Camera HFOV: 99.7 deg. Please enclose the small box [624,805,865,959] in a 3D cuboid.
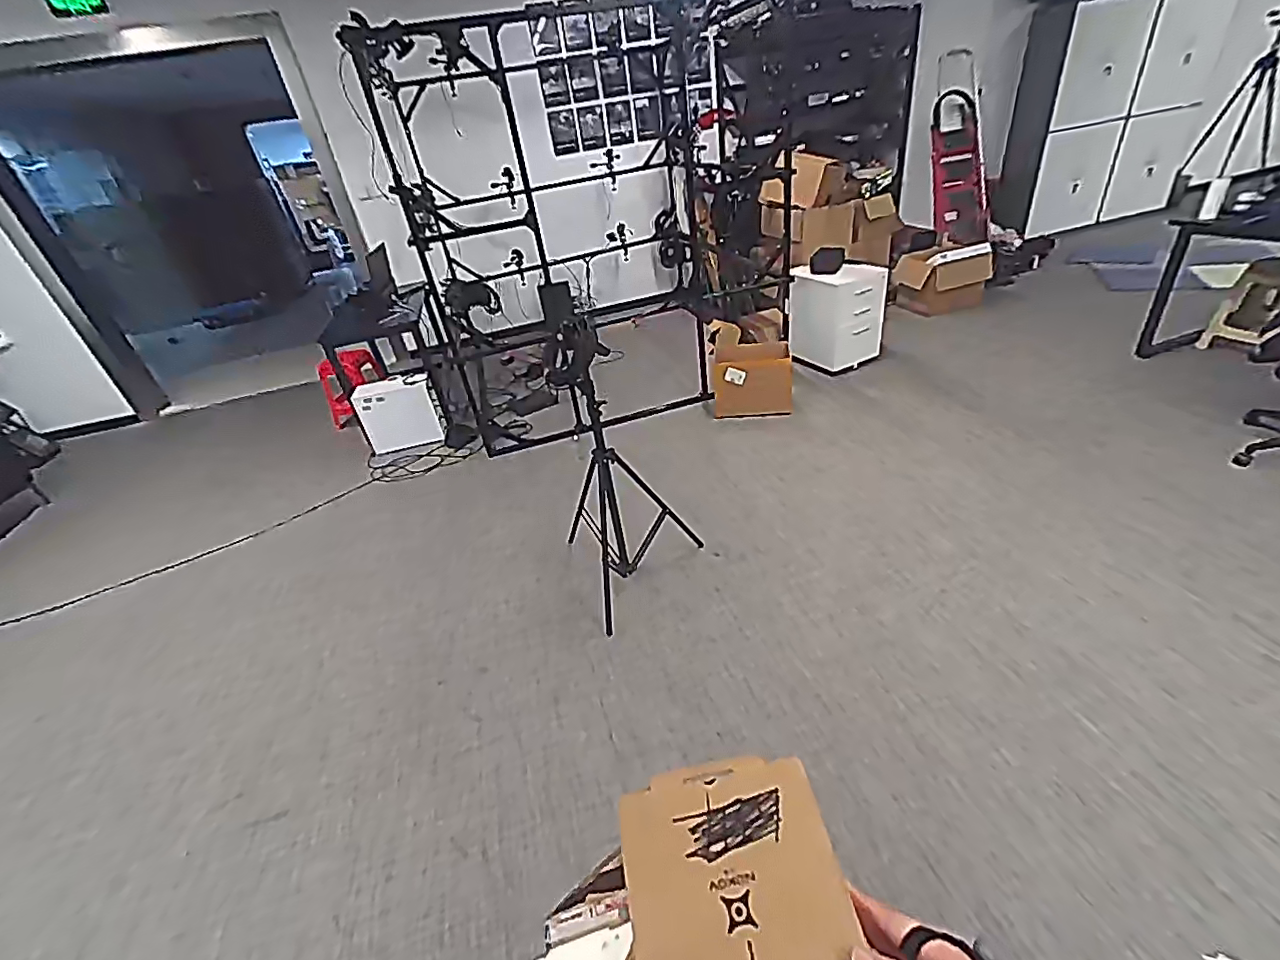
[{"bbox_3d":[0.085,0.404,0.446,0.168,0.176,0.179,-11,44,-3],"label":"small box"}]
